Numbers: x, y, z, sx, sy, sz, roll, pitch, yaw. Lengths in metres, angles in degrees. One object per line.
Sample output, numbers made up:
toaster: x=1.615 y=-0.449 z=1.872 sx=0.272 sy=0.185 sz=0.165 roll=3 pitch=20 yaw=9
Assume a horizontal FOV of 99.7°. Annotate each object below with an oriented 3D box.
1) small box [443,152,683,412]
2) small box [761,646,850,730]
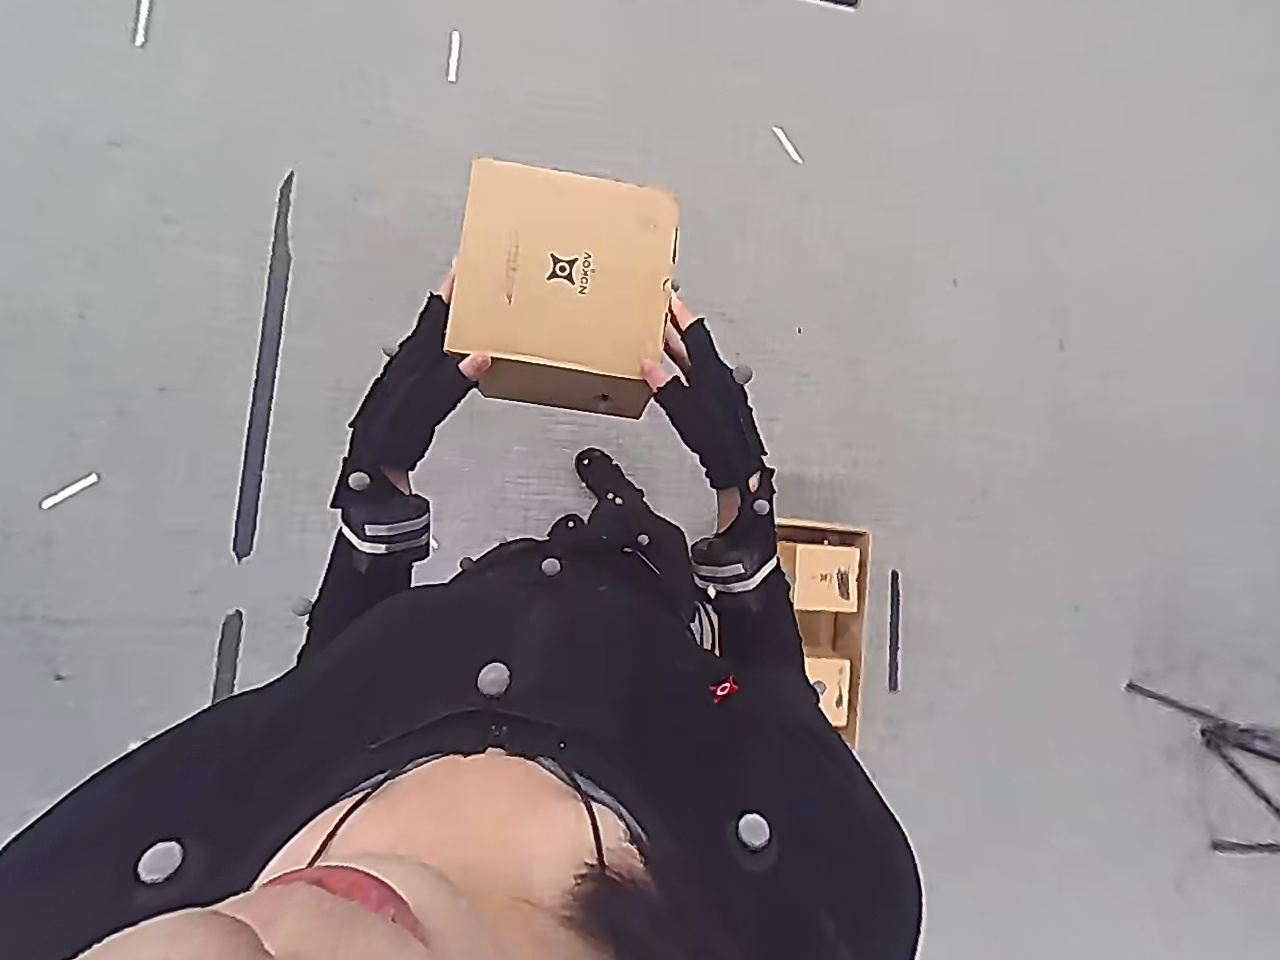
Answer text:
small box: x=-0.066 y=-0.166 z=0.511 sx=0.179 sy=0.176 sz=0.168 roll=6 pitch=84 yaw=-5
small box: x=0.435 y=0.547 z=1.444 sx=0.179 sy=0.176 sz=0.168 roll=7 pitch=85 yaw=-6
